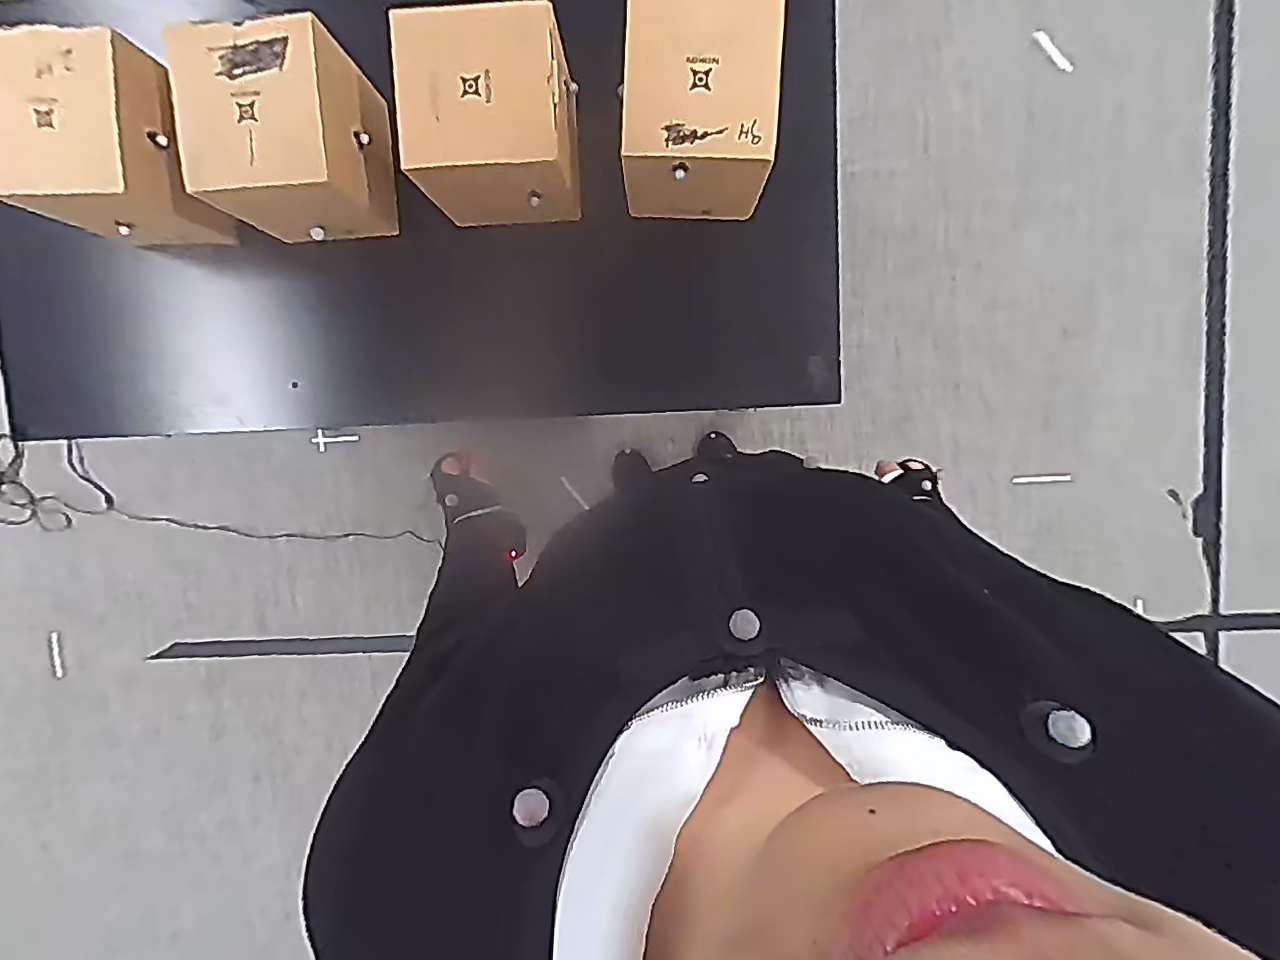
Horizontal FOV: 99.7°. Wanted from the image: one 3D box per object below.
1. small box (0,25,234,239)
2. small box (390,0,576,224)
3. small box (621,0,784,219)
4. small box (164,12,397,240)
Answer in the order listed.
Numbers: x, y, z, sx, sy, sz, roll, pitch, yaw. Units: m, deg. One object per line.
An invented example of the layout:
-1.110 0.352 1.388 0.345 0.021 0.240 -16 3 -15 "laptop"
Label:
-0.646 -0.414 0.673 0.168 0.176 0.179 0 95 1 "small box"
-0.174 -0.430 0.658 0.179 0.176 0.168 -3 94 3 "small box"
0.067 -0.439 0.647 0.168 0.176 0.179 3 95 2 "small box"
-0.422 -0.417 0.665 0.168 0.176 0.179 -4 97 2 "small box"
